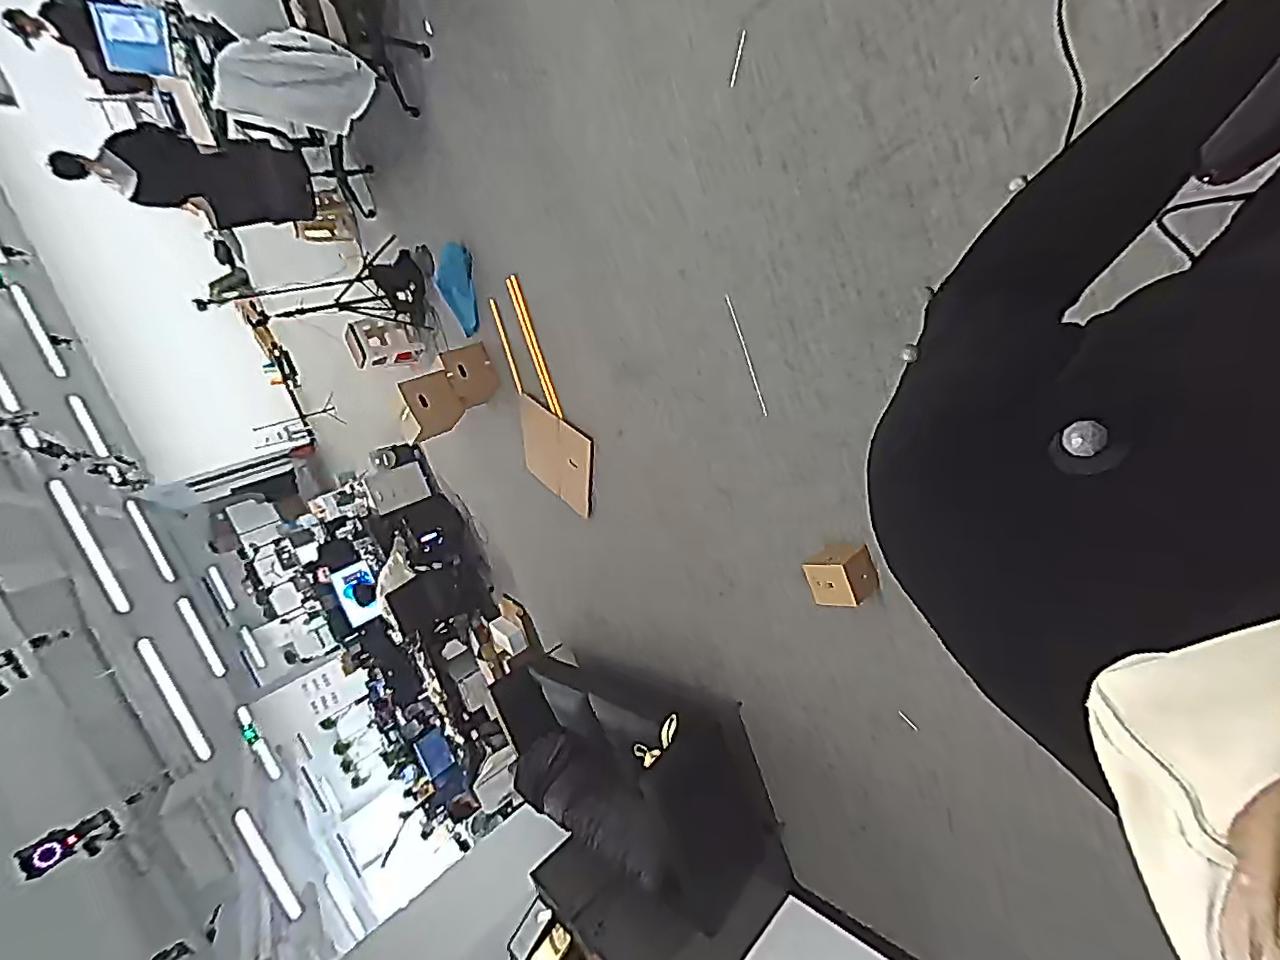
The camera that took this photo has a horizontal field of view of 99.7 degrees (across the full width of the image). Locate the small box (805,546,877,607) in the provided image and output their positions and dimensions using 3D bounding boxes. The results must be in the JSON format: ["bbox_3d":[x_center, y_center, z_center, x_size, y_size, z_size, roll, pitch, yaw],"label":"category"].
[{"bbox_3d":[0.748,0.352,1.993,0.179,0.176,0.168,-13,100,54],"label":"small box"}]
